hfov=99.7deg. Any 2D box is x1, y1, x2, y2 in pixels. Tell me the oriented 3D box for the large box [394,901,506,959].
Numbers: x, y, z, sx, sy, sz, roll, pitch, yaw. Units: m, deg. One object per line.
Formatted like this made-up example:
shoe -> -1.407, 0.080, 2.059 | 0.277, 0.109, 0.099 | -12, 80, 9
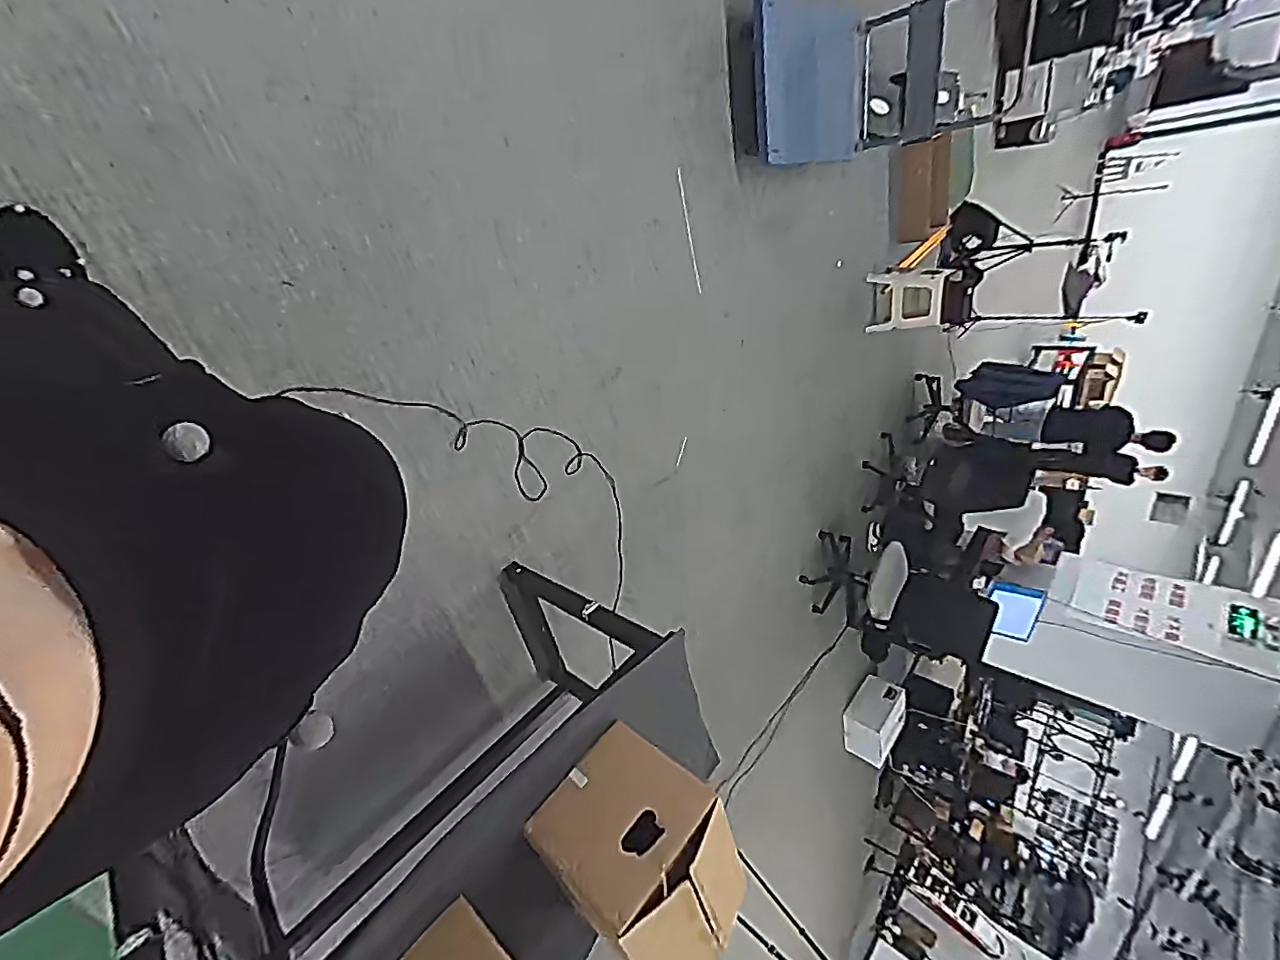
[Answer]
large box -> -0.315, 1.076, 0.965 | 0.320, 0.320, 0.408 | -38, 128, -35
